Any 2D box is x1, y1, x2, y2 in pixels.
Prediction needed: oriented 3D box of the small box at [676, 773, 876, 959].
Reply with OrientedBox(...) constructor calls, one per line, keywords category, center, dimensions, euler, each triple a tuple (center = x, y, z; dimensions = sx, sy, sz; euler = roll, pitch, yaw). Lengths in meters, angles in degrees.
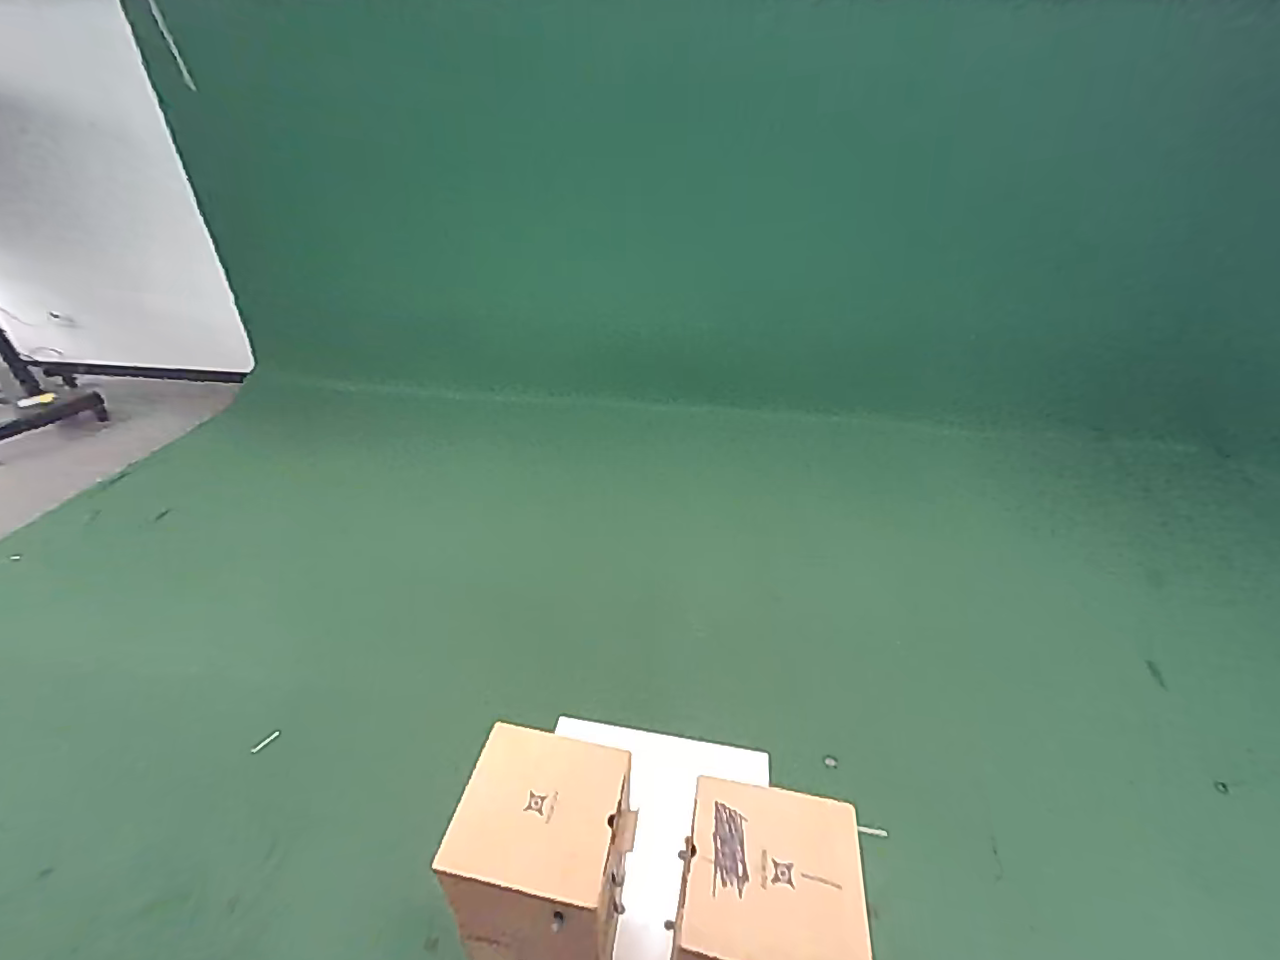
OrientedBox(category="small box", center=(0.135, 0.454, 0.578), dimensions=(0.179, 0.176, 0.168), euler=(8, 35, 10))
